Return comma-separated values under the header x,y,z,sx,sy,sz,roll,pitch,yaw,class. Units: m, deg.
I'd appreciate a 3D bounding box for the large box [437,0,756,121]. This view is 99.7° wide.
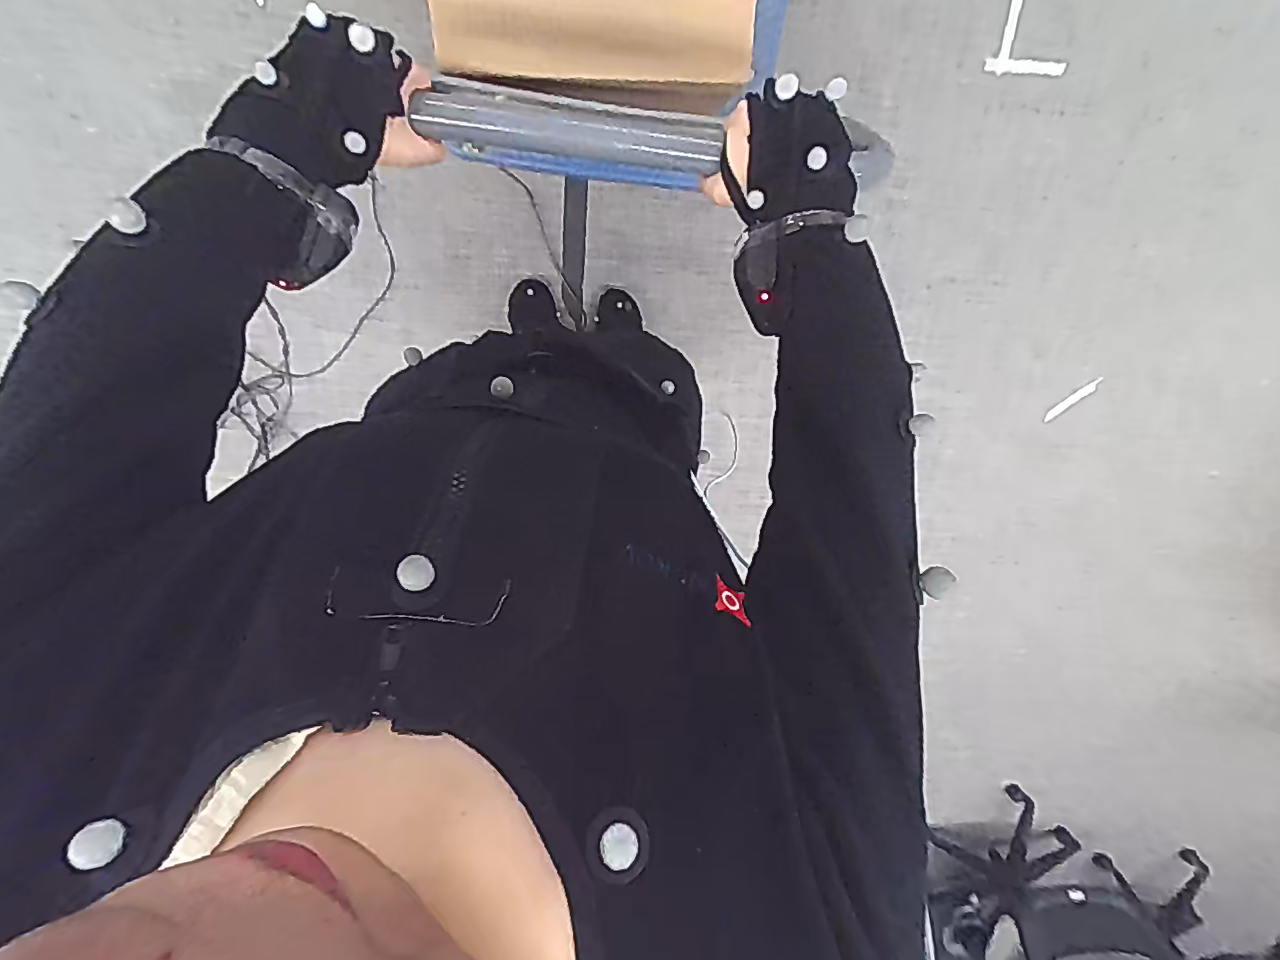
x,y,z,sx,sy,sz,roll,pitch,yaw,class
-0.065,-0.723,0.772,0.408,0.320,0.320,-2,116,-4,large box
